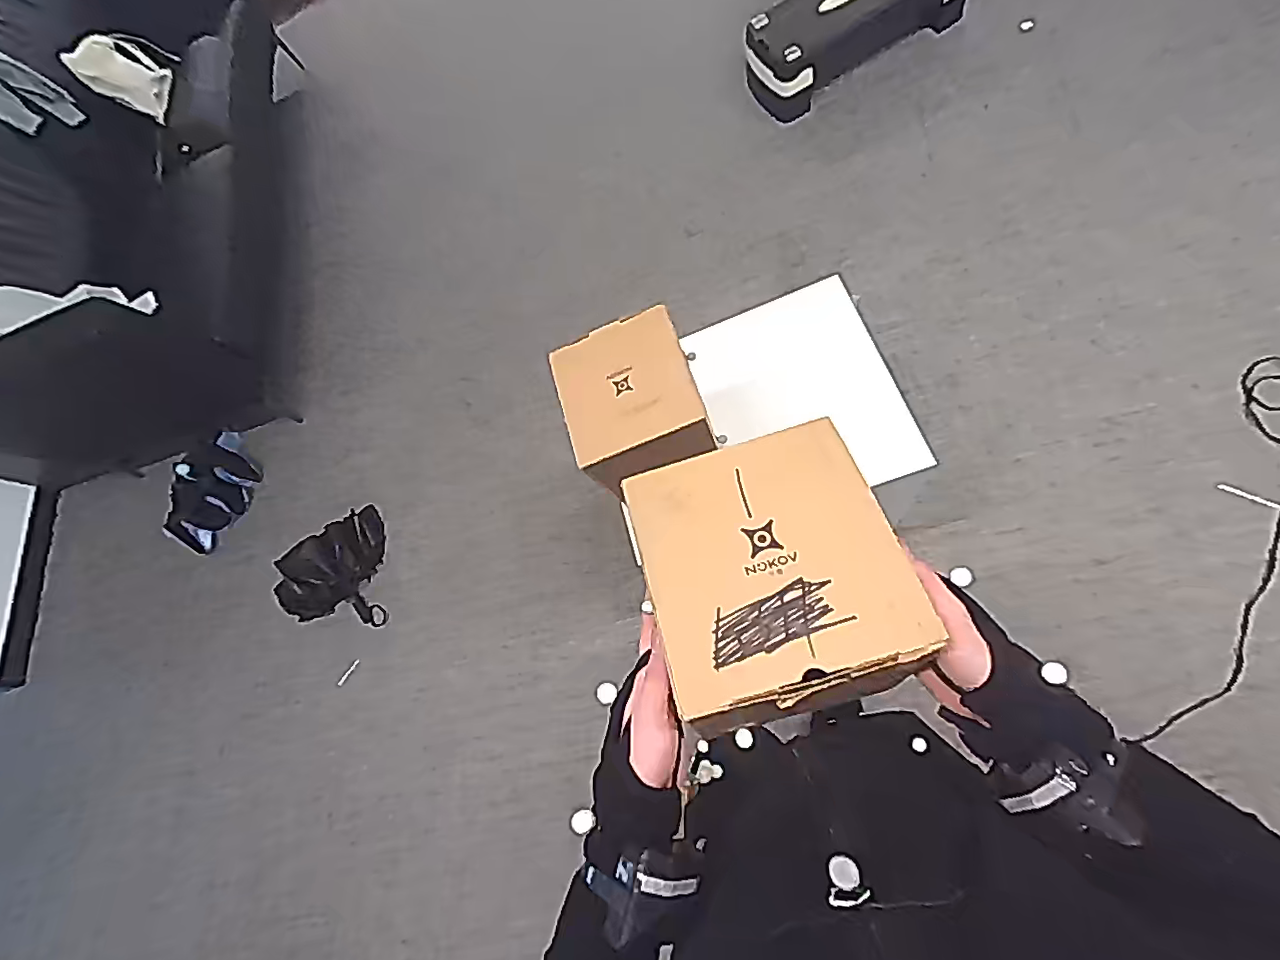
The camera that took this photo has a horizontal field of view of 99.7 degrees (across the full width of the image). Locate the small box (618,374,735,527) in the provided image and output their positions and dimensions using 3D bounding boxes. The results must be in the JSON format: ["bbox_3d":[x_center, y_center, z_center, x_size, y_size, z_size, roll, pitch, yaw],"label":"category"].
[{"bbox_3d":[0.048,-0.043,0.893,0.168,0.176,0.179,-20,67,10],"label":"small box"}]

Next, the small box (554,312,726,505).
[{"bbox_3d":[0.006,-0.087,0.743,0.168,0.176,0.179,-22,68,11],"label":"small box"}]
